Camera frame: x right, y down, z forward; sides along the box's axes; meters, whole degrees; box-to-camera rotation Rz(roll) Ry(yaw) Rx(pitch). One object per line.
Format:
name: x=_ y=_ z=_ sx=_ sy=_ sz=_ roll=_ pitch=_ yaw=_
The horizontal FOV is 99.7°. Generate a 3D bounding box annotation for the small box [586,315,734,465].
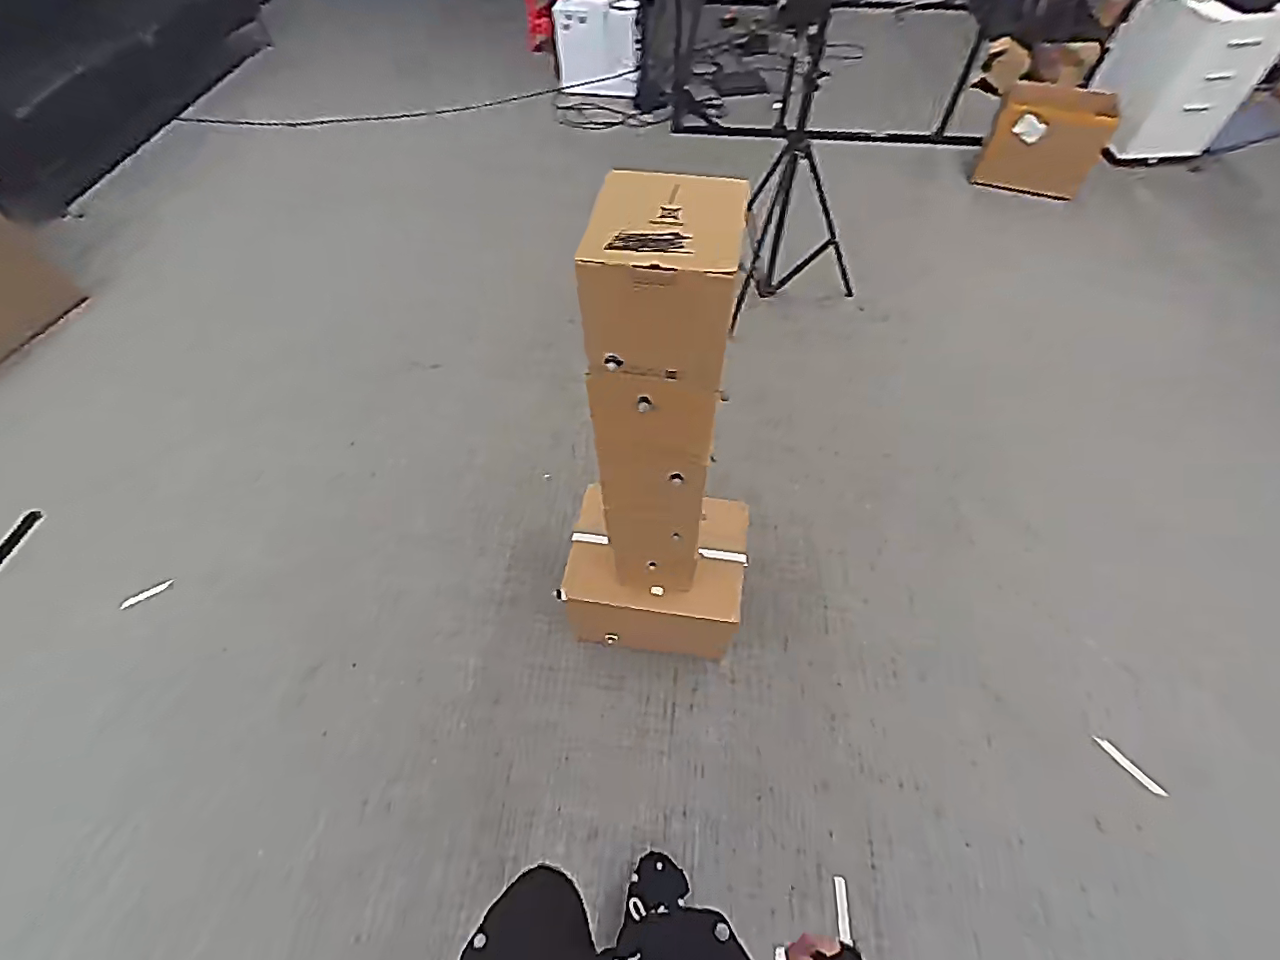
small box: x=0.032 y=-0.139 z=0.787 sx=0.179 sy=0.176 sz=0.168 roll=8 pitch=58 yaw=7

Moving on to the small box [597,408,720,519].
small box: x=0.035 y=-0.049 z=0.922 sx=0.179 sy=0.176 sz=0.168 roll=8 pitch=57 yaw=7

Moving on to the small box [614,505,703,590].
small box: x=0.043 y=0.133 z=1.195 sx=0.179 sy=0.176 sz=0.168 roll=5 pitch=58 yaw=4

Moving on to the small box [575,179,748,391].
small box: x=0.031 y=-0.229 z=0.650 sx=0.168 sy=0.176 sz=0.179 roll=8 pitch=57 yaw=7
